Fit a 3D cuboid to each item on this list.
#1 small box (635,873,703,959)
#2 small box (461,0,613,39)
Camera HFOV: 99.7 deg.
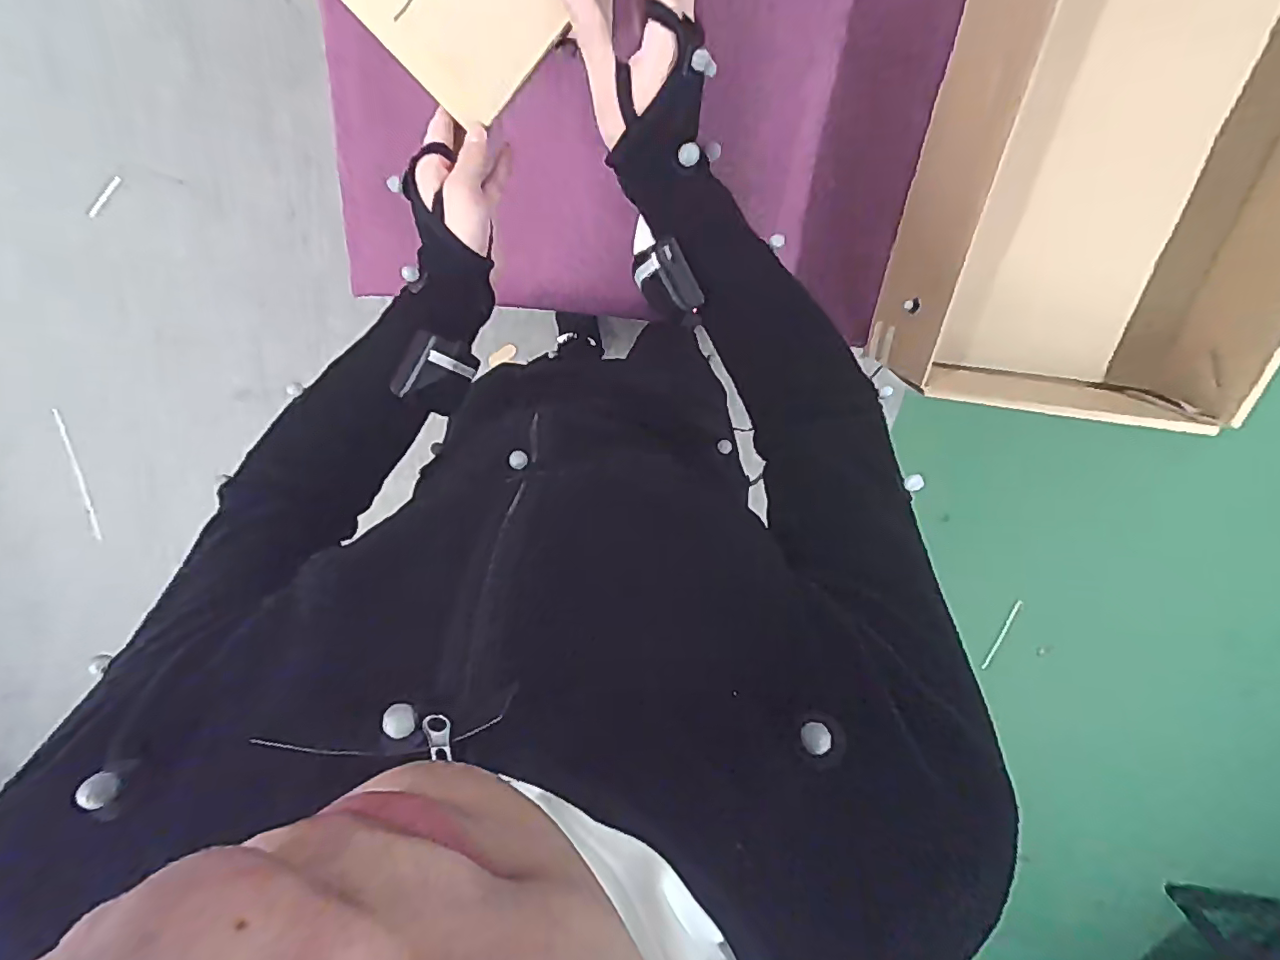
[{"bbox_3d":[0.094,1.418,1.745,0.168,0.176,0.179,-22,111,10],"label":"small box"},{"bbox_3d":[-0.110,-0.584,0.548,0.168,0.176,0.179,6,114,-1],"label":"small box"}]
